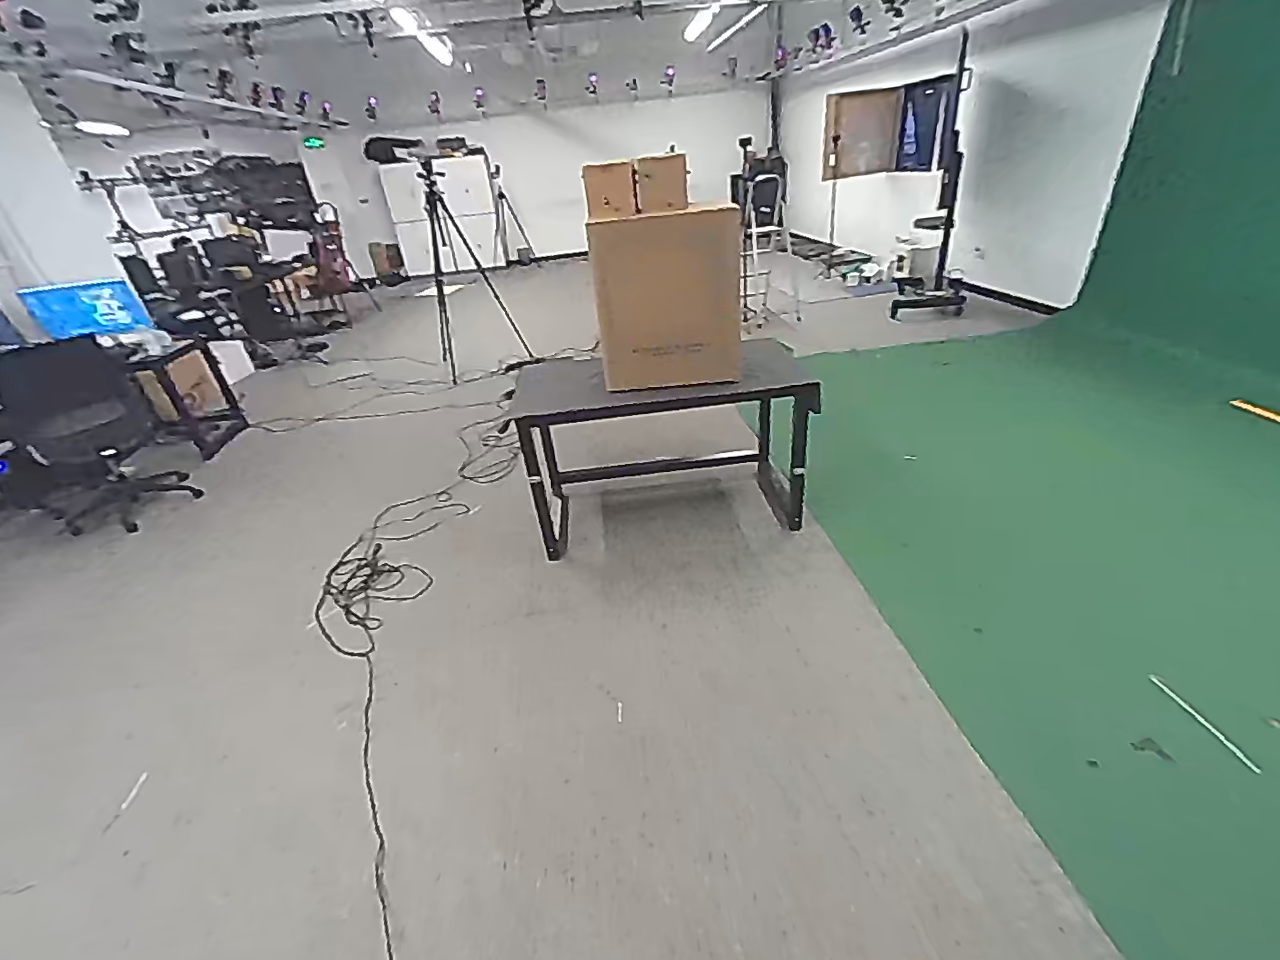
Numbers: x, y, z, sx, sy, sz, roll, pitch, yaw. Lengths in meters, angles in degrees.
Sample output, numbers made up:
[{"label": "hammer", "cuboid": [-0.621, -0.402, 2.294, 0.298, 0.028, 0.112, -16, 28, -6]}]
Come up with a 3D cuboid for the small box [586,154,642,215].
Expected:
[{"label": "small box", "cuboid": [-0.086, -1.032, 1.891, 0.168, 0.176, 0.179, -2, 34, 7]}]
